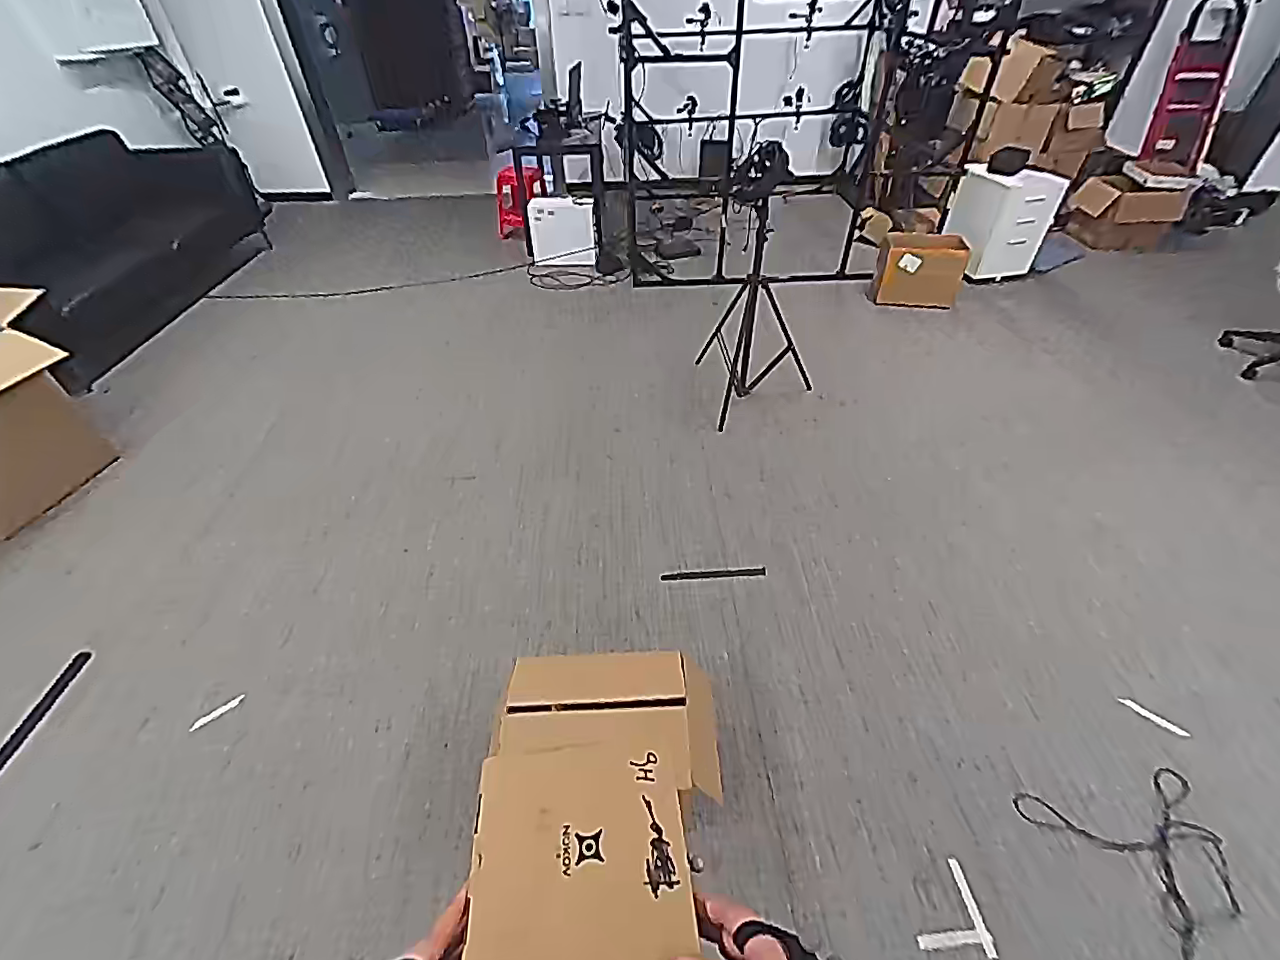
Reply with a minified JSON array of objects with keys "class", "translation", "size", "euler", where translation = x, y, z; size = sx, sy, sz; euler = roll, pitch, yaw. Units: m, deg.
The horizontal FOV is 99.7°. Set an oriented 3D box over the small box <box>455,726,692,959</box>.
[{"class":"small box","translation":[-0.050,0.356,0.502],"size":[0.179,0.176,0.168],"euler":[-7,42,-2]}]
